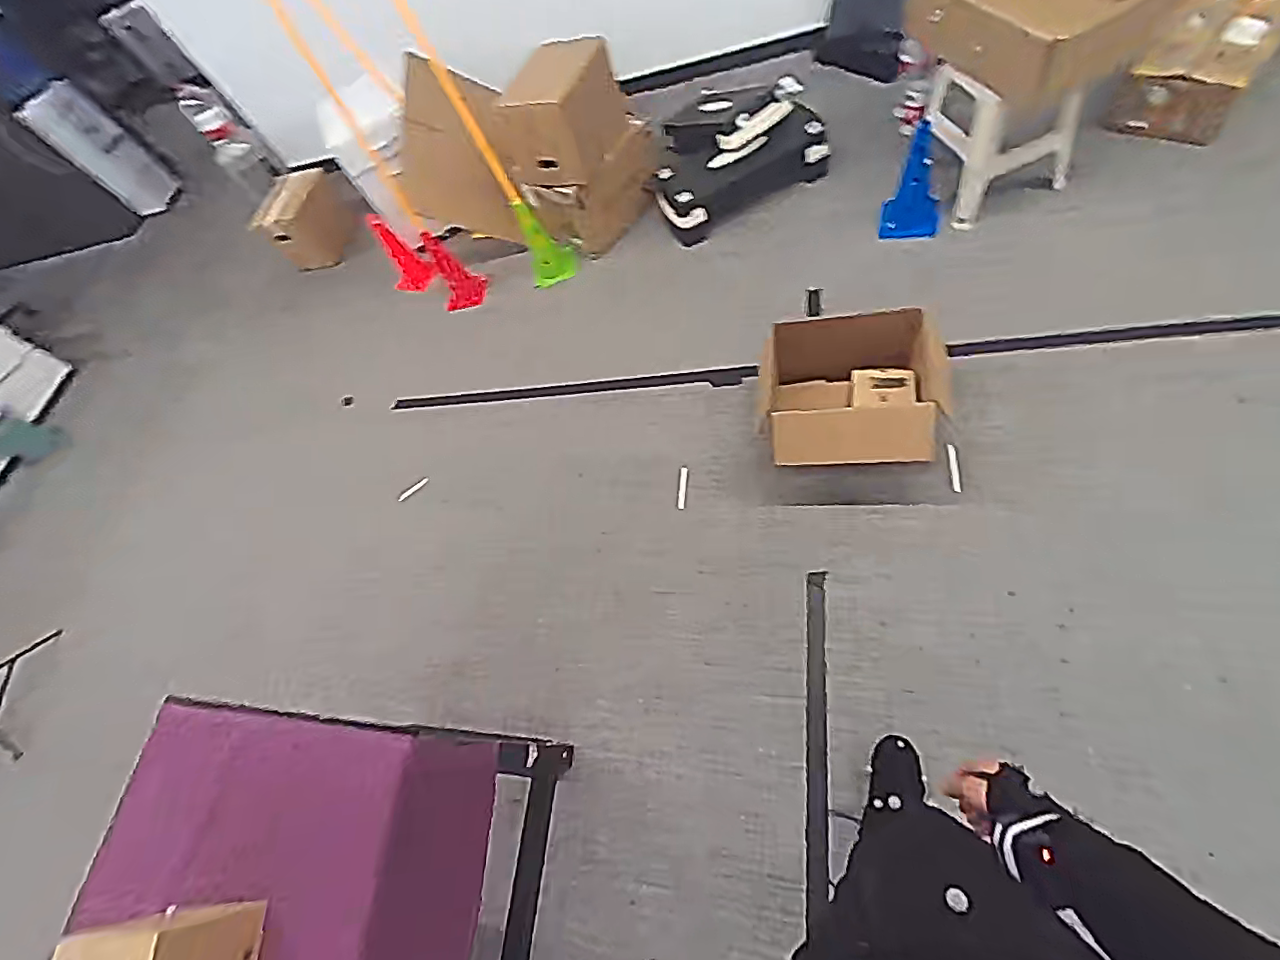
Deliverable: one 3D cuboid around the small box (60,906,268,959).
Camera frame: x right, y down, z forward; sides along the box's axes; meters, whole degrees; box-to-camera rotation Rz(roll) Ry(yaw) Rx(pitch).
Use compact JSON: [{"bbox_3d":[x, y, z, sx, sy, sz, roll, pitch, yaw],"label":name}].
[{"bbox_3d":[-0.674,0.720,0.754,0.179,0.176,0.168,-13,61,11],"label":"small box"}]
